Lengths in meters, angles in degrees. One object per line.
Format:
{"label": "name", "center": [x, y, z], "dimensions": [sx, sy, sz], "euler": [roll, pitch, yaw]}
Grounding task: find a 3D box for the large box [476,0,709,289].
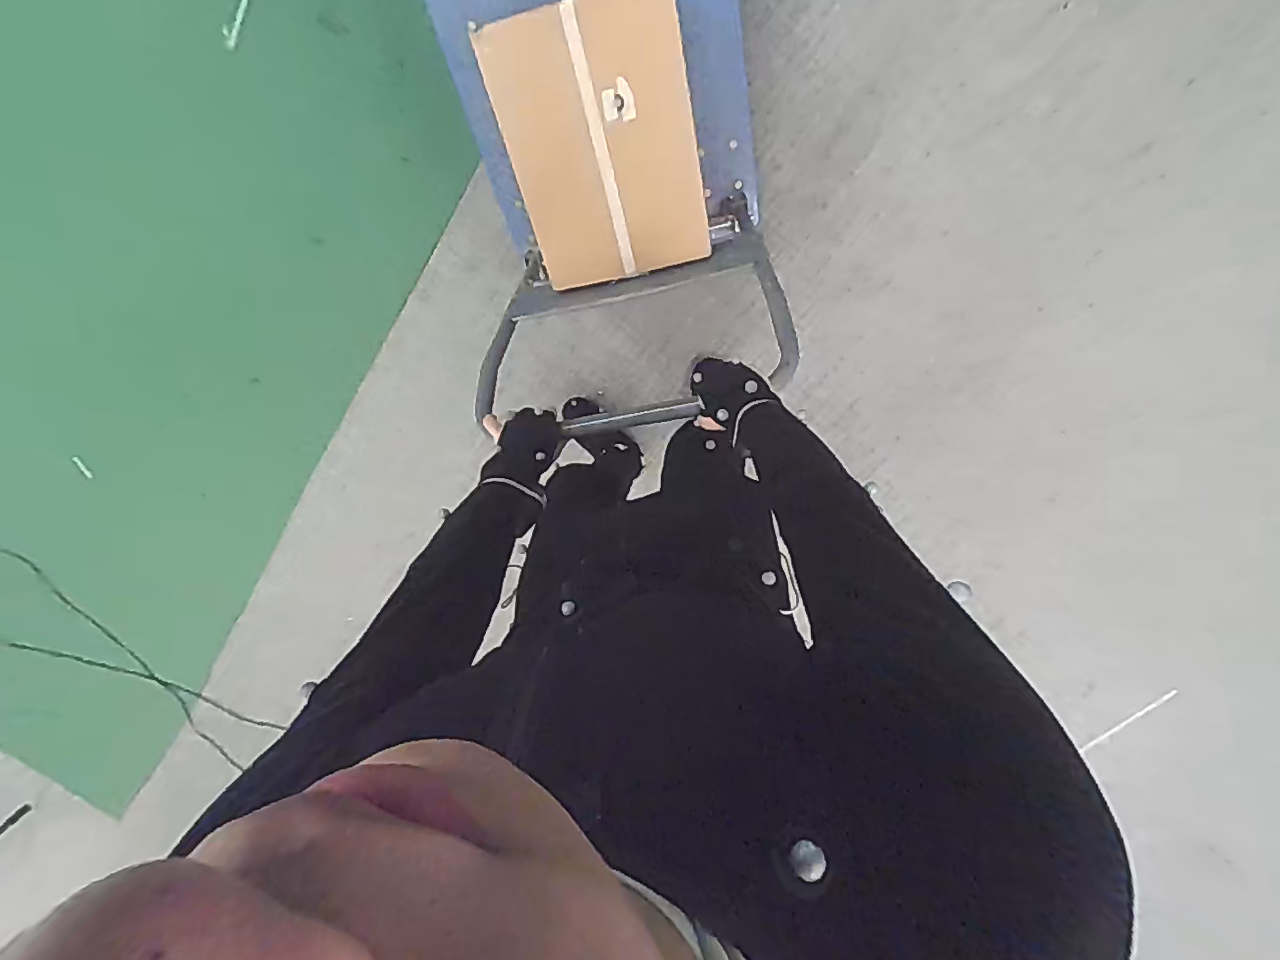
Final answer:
{"label": "large box", "center": [-0.053, -0.641, 1.046], "dimensions": [0.320, 0.320, 0.408], "euler": [-8, 127, 10]}
